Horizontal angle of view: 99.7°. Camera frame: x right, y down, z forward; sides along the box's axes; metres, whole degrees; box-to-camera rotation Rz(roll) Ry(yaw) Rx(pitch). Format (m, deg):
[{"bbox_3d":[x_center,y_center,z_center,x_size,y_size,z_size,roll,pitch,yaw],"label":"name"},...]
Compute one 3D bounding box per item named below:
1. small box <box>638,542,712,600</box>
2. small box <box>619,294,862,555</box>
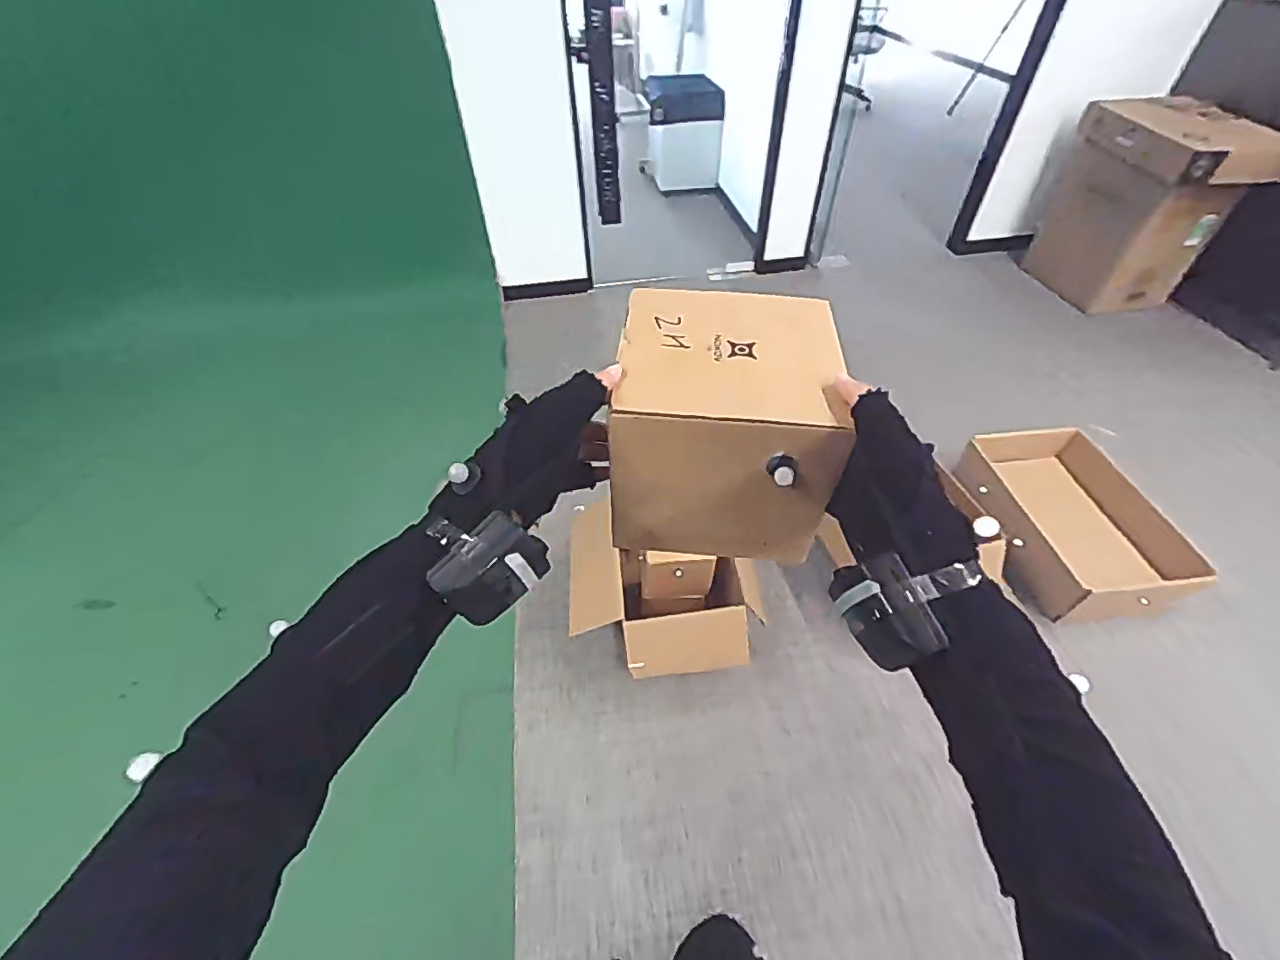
[{"bbox_3d":[0.088,0.207,1.457,0.179,0.176,0.168,-3,47,-3],"label":"small box"},{"bbox_3d":[0.077,-0.047,0.496,0.179,0.176,0.168,5,48,3],"label":"small box"}]
